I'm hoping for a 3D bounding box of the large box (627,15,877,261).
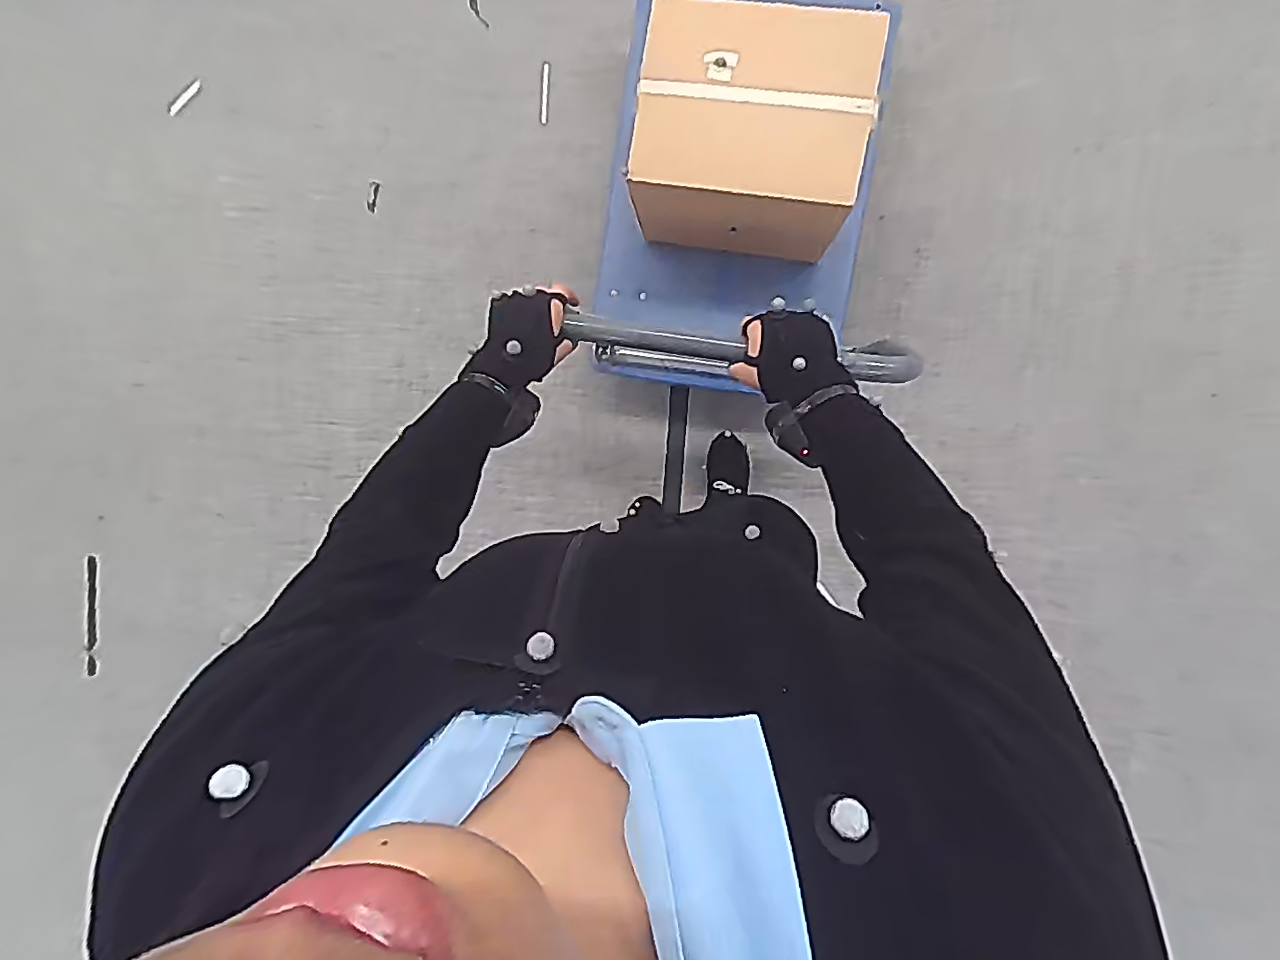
[{"bbox_3d":[0.212,-0.666,1.105,0.408,0.320,0.320,10,95,7],"label":"large box"}]
